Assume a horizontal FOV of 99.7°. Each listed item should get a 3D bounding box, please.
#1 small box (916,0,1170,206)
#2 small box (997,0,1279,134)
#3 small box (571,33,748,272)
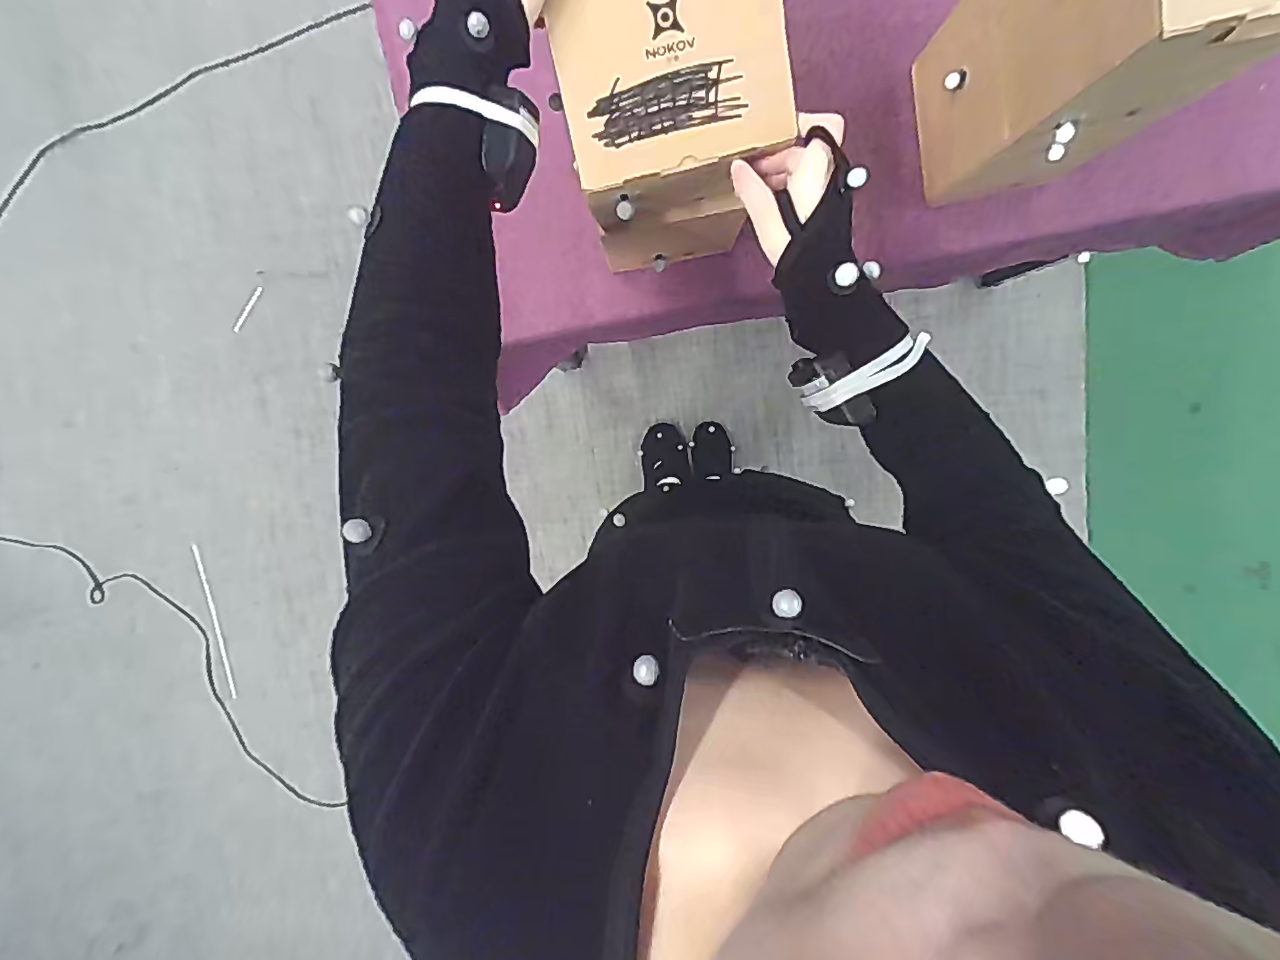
[{"bbox_3d":[0.435,-0.443,0.612,0.168,0.176,0.179,-10,97,5],"label":"small box"},{"bbox_3d":[0.431,-0.421,0.449,0.168,0.176,0.179,-11,97,3],"label":"small box"},{"bbox_3d":[0.023,-0.366,0.639,0.168,0.176,0.179,-9,98,4],"label":"small box"}]
